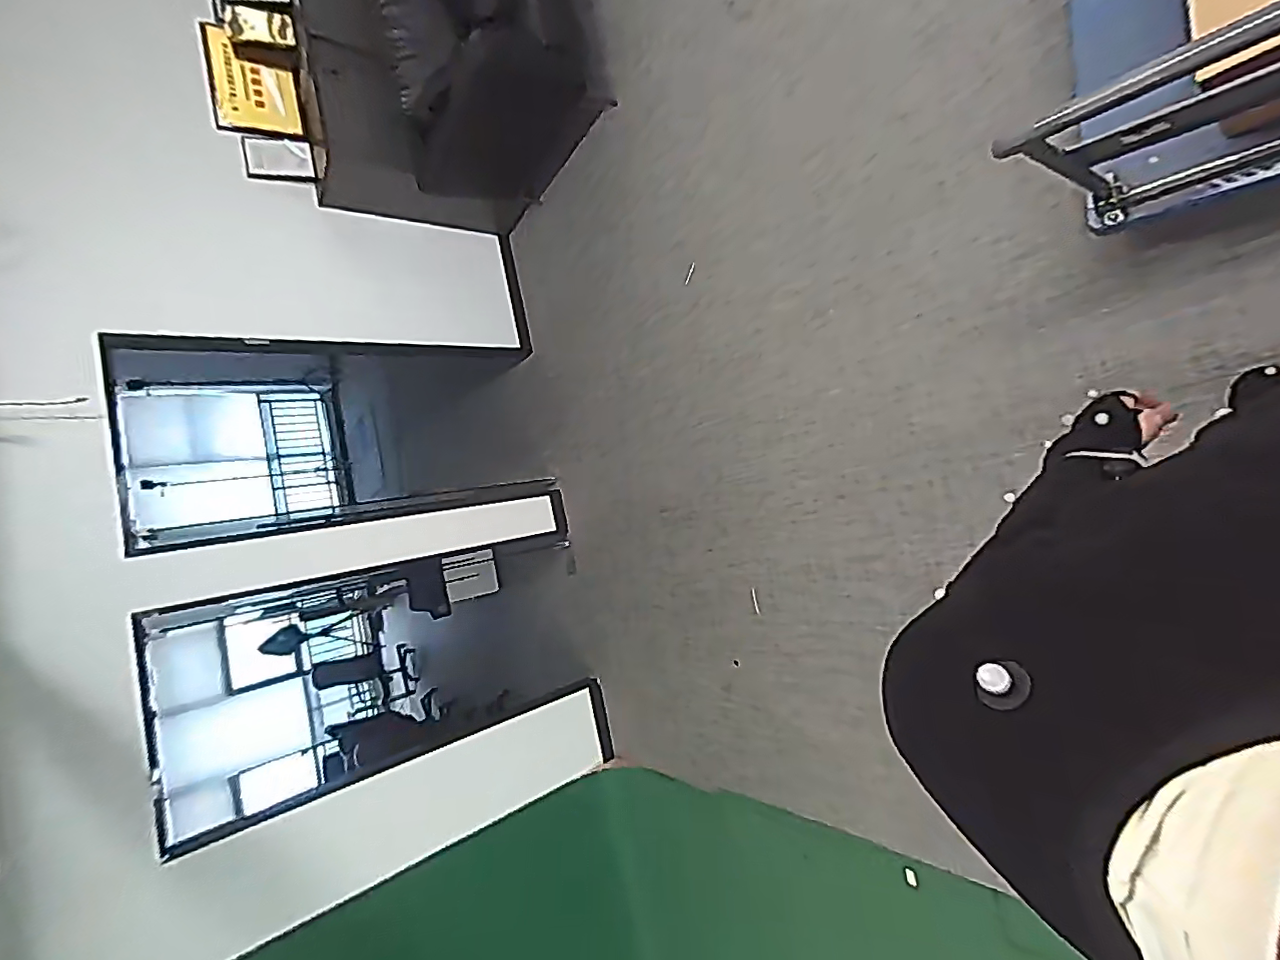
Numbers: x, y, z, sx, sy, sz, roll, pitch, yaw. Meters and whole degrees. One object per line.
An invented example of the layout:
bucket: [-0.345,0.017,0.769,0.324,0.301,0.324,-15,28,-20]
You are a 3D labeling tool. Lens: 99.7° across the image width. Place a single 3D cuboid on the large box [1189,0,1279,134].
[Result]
large box: [1.016,-0.808,0.765,0.320,0.320,0.408,-5,92,52]
